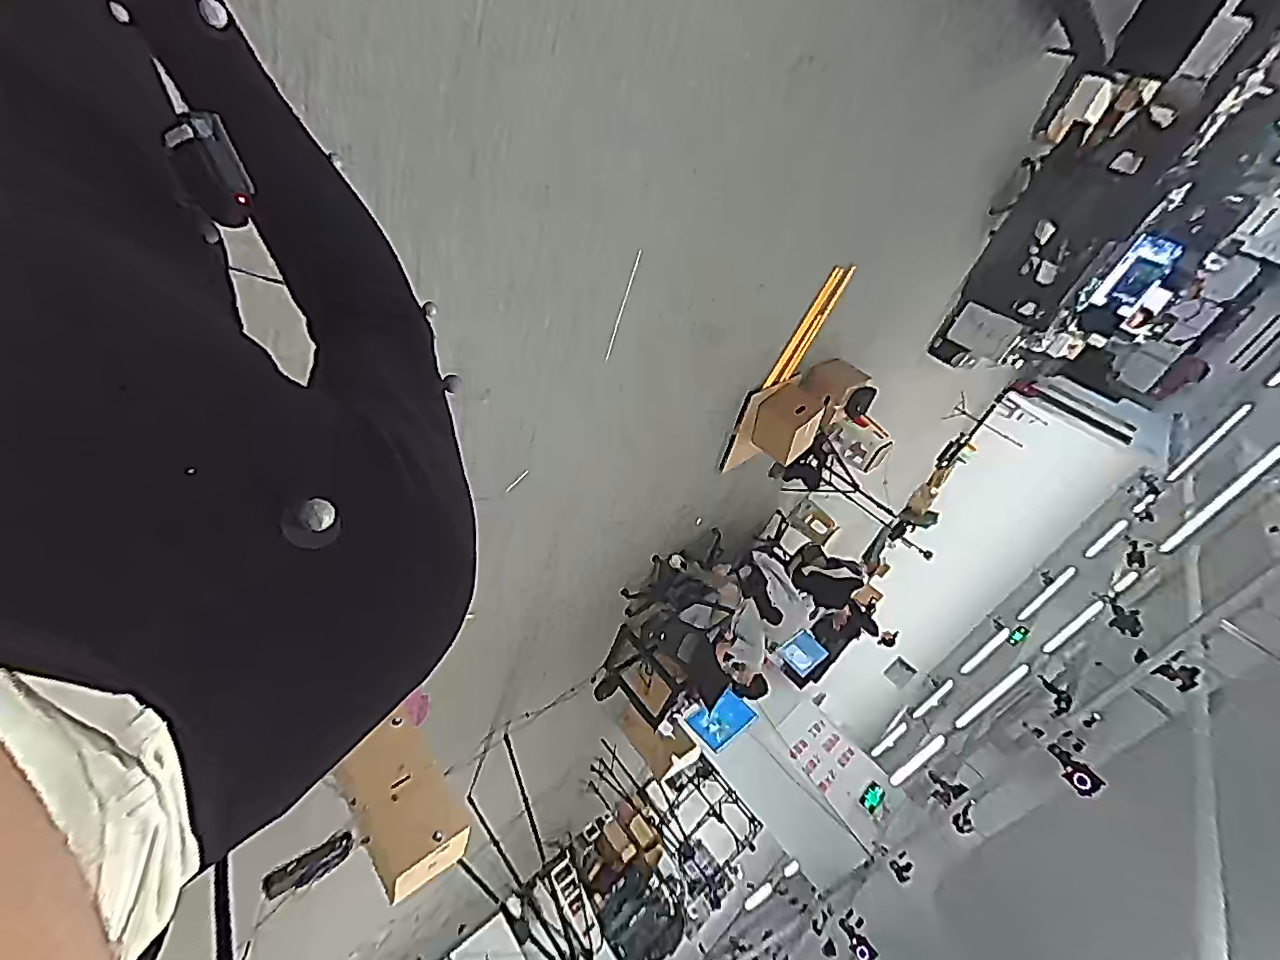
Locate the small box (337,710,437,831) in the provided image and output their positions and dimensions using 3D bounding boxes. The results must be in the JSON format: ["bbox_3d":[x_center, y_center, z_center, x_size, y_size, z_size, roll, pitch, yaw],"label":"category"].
[{"bbox_3d":[-0.608,0.682,1.290,0.168,0.176,0.179,-17,141,-43],"label":"small box"}]

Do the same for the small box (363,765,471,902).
[{"bbox_3d":[-0.505,0.786,1.216,0.168,0.176,0.179,-18,141,-43],"label":"small box"}]
